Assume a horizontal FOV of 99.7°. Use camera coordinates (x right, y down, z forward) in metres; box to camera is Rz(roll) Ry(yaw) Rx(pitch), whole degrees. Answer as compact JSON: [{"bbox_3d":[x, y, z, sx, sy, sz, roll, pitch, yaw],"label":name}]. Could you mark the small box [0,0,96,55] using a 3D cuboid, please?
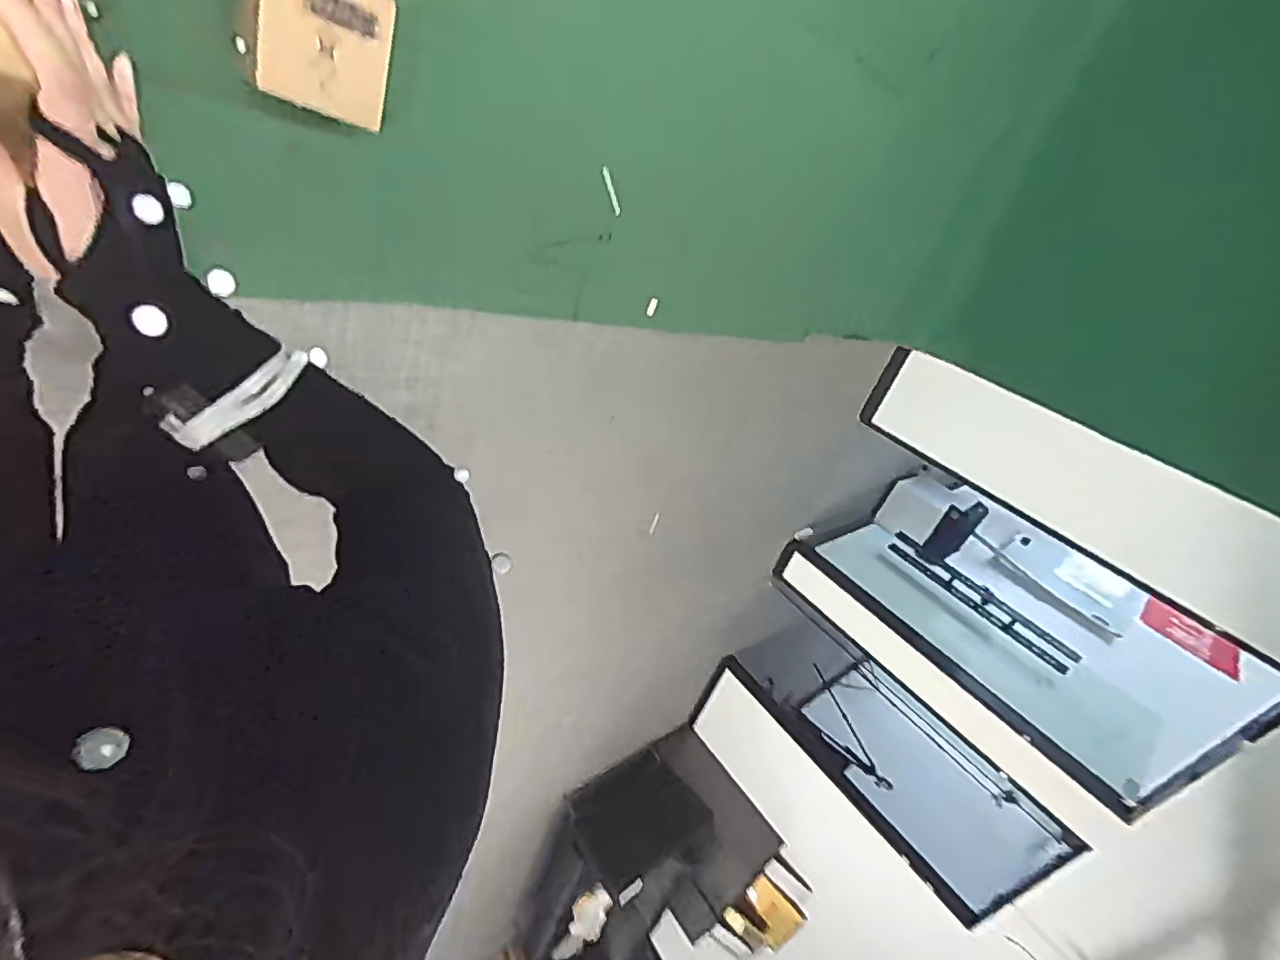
[{"bbox_3d":[-0.745,-0.616,0.605,0.179,0.176,0.168,-7,129,-41],"label":"small box"}]
